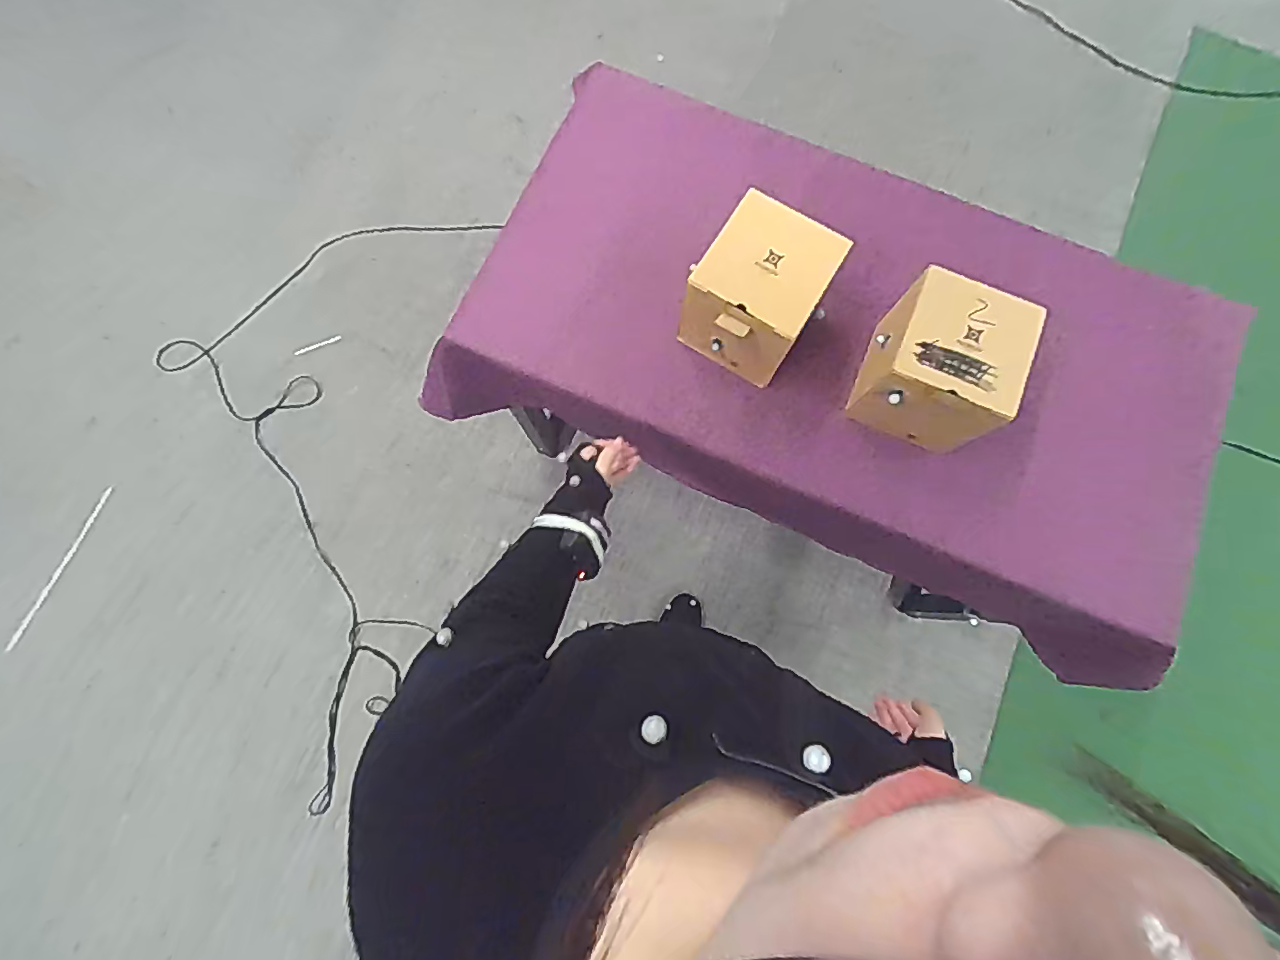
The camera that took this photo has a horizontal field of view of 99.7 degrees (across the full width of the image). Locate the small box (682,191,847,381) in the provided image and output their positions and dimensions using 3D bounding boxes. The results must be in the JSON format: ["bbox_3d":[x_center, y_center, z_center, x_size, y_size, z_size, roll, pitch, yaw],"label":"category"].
[{"bbox_3d":[0.176,-0.285,0.825,0.168,0.176,0.179,31,80,6],"label":"small box"}]
